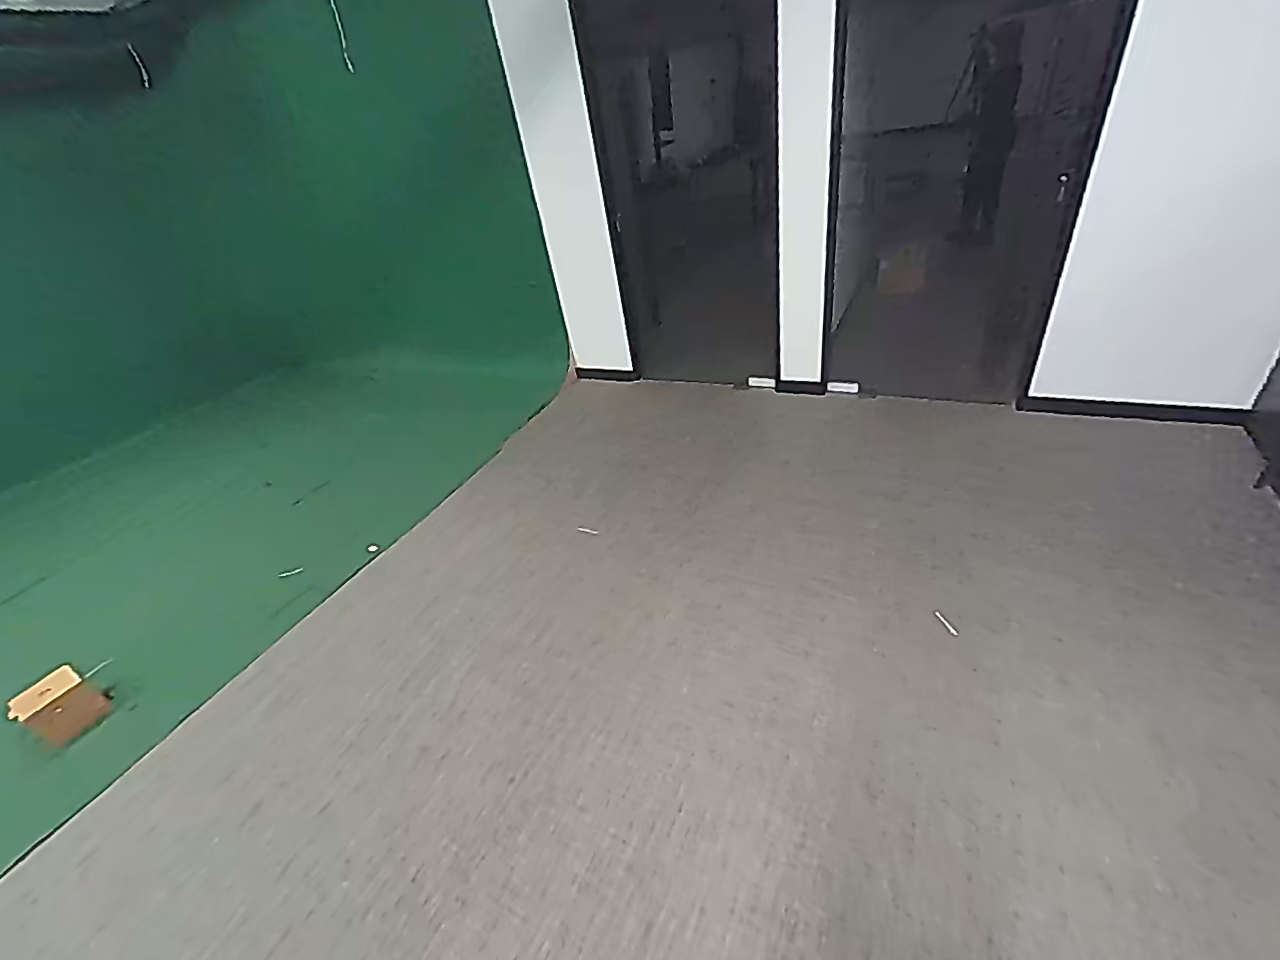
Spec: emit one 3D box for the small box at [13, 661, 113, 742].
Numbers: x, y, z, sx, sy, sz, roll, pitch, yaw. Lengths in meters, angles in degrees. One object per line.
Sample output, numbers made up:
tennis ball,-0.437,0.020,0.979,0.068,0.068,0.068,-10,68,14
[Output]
small box,-2.056,0.792,1.938,0.168,0.176,0.179,13,41,29
